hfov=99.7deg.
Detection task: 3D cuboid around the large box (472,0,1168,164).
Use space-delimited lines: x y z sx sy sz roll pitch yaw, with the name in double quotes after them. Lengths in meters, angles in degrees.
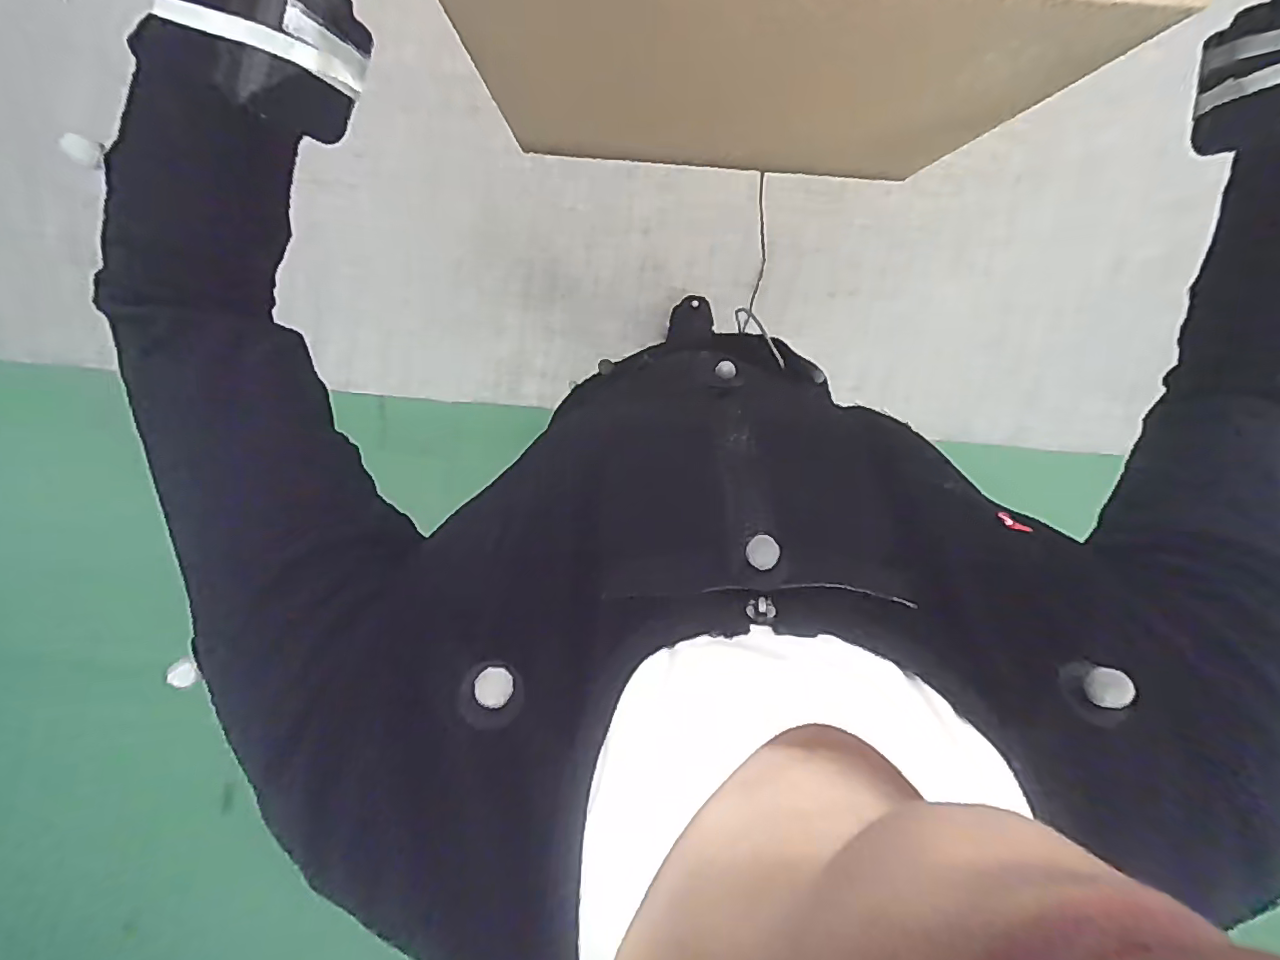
0.095 -0.447 0.382 0.408 0.320 0.320 2 106 -3 "large box"
